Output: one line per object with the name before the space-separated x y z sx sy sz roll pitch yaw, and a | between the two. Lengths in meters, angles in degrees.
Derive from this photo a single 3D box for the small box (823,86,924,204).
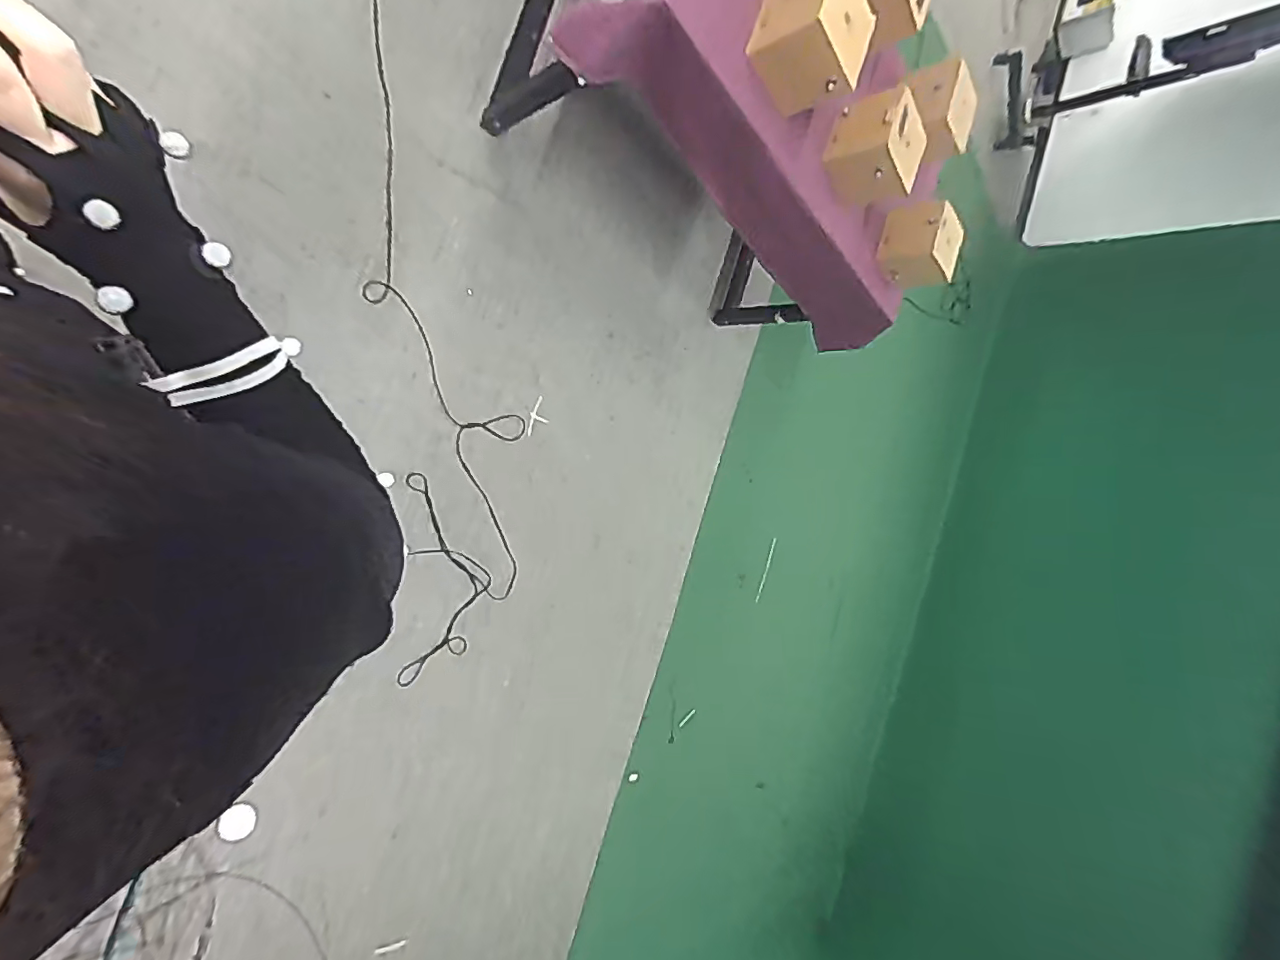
small box | 0.586 -0.829 1.362 0.179 0.176 0.168 26 81 -45

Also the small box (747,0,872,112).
small box | 0.347 -0.909 1.115 0.179 0.176 0.168 24 82 -45

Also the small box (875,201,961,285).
small box | 0.839 -0.705 1.632 0.179 0.176 0.168 20 85 -45

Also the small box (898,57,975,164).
small box | 0.825 -1.039 1.542 0.168 0.176 0.179 18 87 -44
